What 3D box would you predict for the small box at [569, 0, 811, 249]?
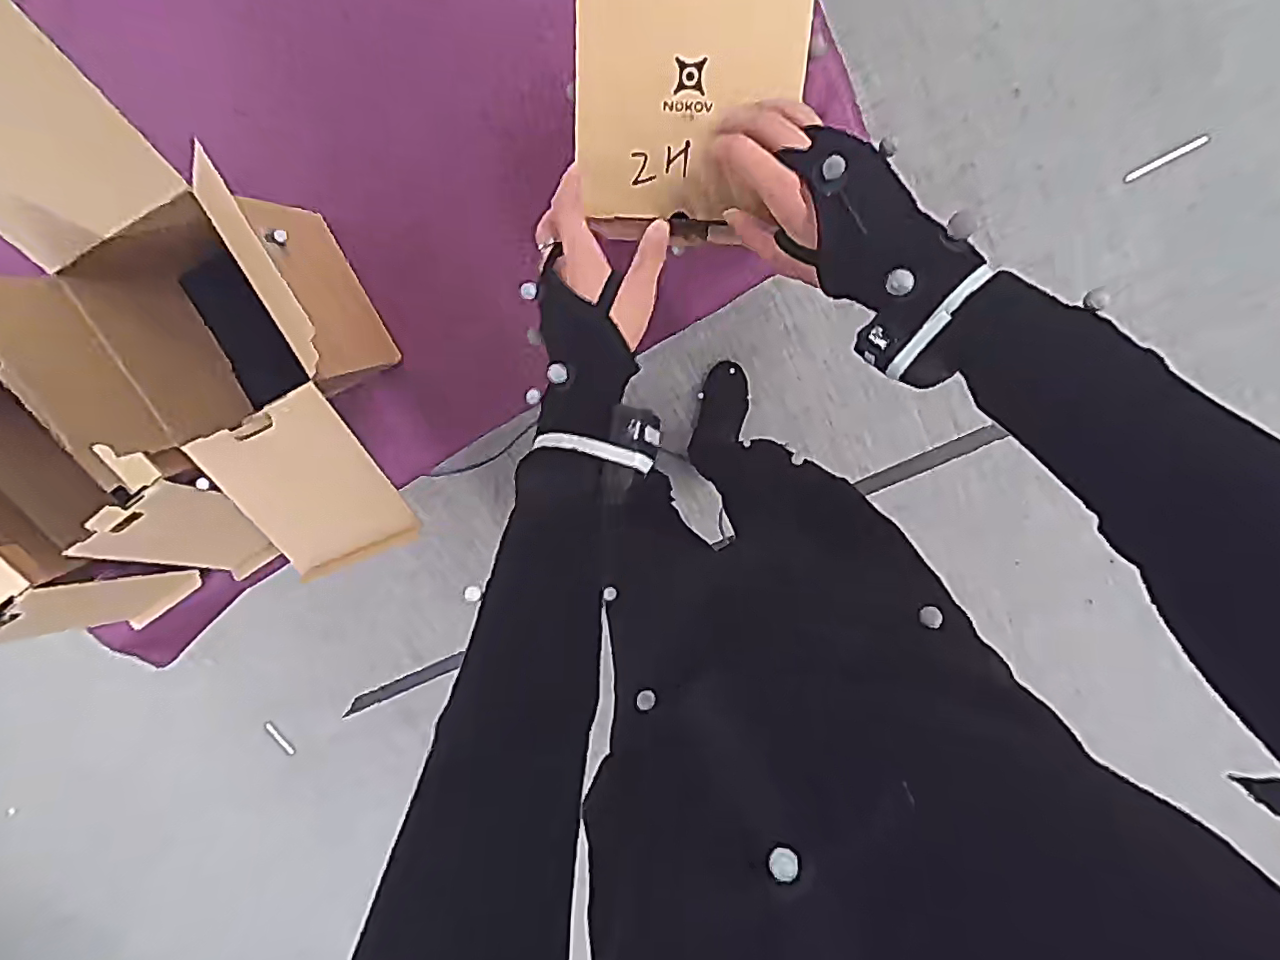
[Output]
[{"bbox_3d":[0.038,-0.304,0.464,0.168,0.176,0.179,5,110,4],"label":"small box"}]
